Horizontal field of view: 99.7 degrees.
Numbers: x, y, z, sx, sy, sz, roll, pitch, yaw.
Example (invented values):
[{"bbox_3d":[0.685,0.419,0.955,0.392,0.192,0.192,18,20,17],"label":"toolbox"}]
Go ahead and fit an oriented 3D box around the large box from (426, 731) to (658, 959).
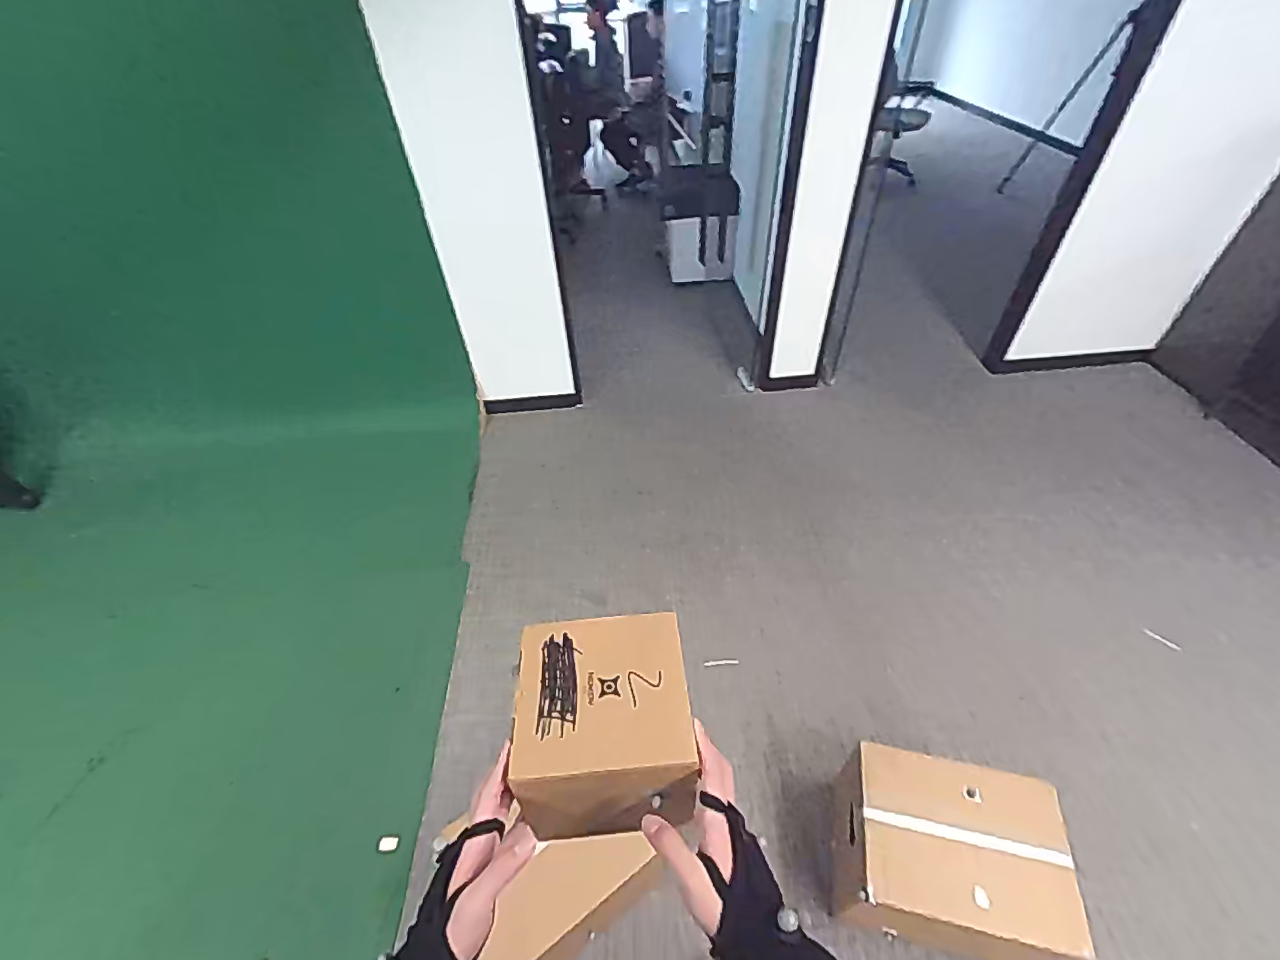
[{"bbox_3d":[-0.205,0.882,1.250,0.408,0.320,0.320,-29,50,-23],"label":"large box"}]
